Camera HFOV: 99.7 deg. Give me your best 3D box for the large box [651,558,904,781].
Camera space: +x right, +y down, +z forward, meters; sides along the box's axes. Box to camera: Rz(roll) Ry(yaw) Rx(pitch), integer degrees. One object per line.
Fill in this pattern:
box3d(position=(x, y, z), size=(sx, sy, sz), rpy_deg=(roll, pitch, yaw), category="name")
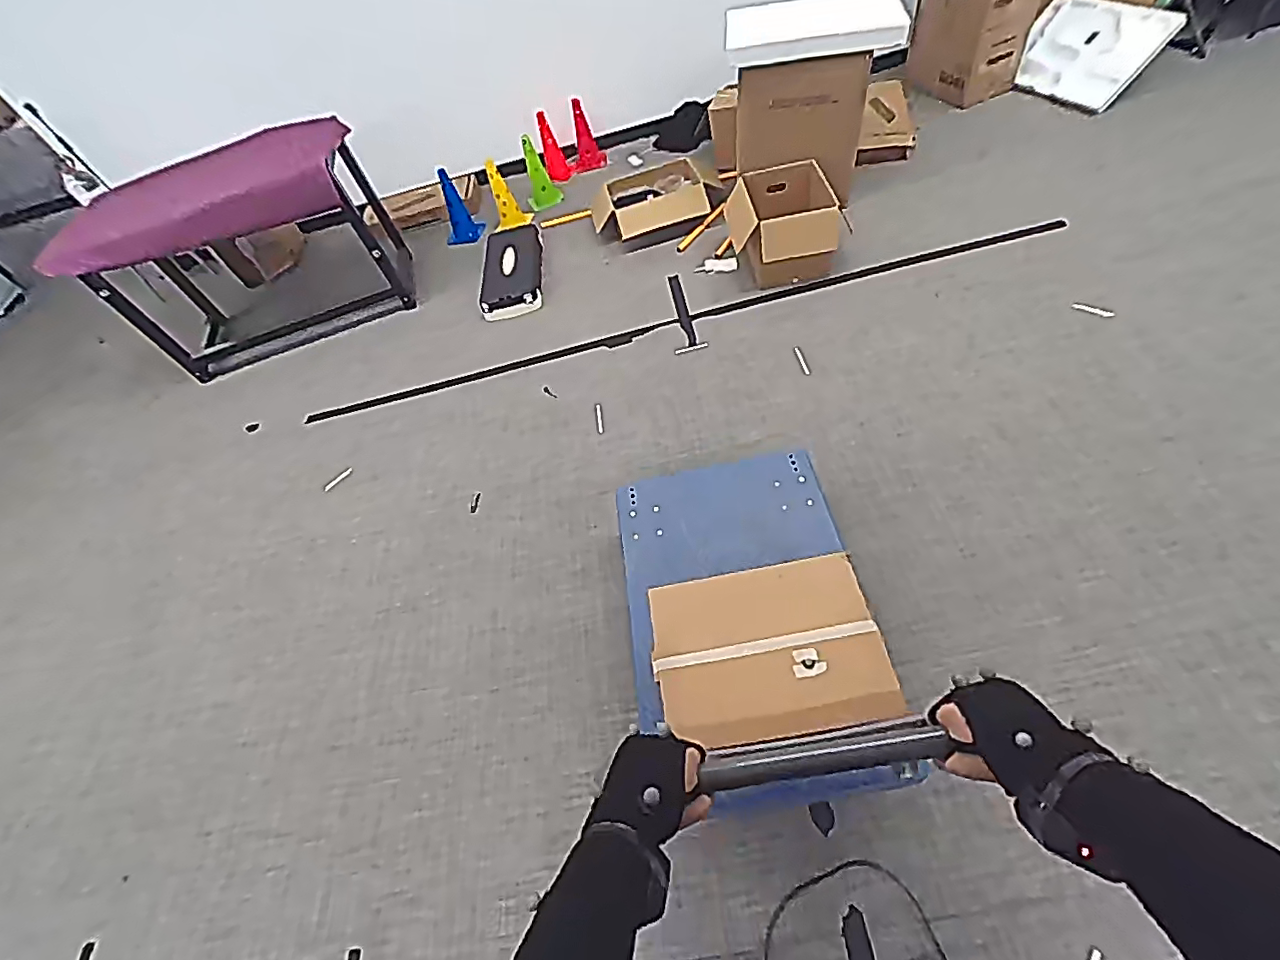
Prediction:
box3d(position=(0.259, 0.404, 1.126), size=(0.408, 0.320, 0.320), rpy_deg=(-11, 53, 4), category="large box")
